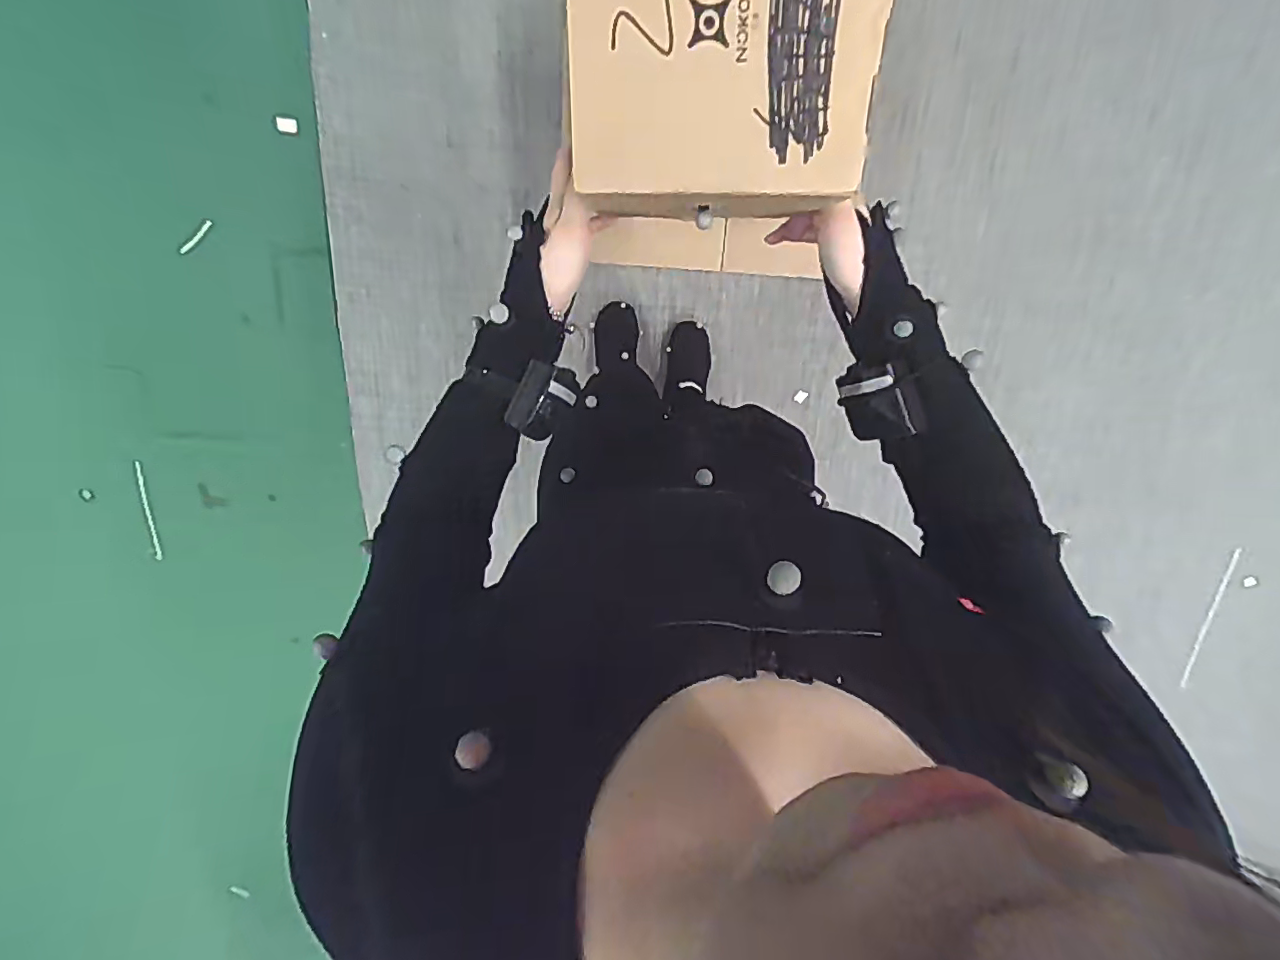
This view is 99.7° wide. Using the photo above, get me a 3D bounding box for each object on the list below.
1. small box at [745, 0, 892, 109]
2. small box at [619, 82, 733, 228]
[{"bbox_3d":[0.277,-0.711,0.852,0.179,0.176,0.168,8,108,0],"label":"small box"},{"bbox_3d":[0.054,-0.540,0.919,0.168,0.176,0.179,5,110,0],"label":"small box"}]
